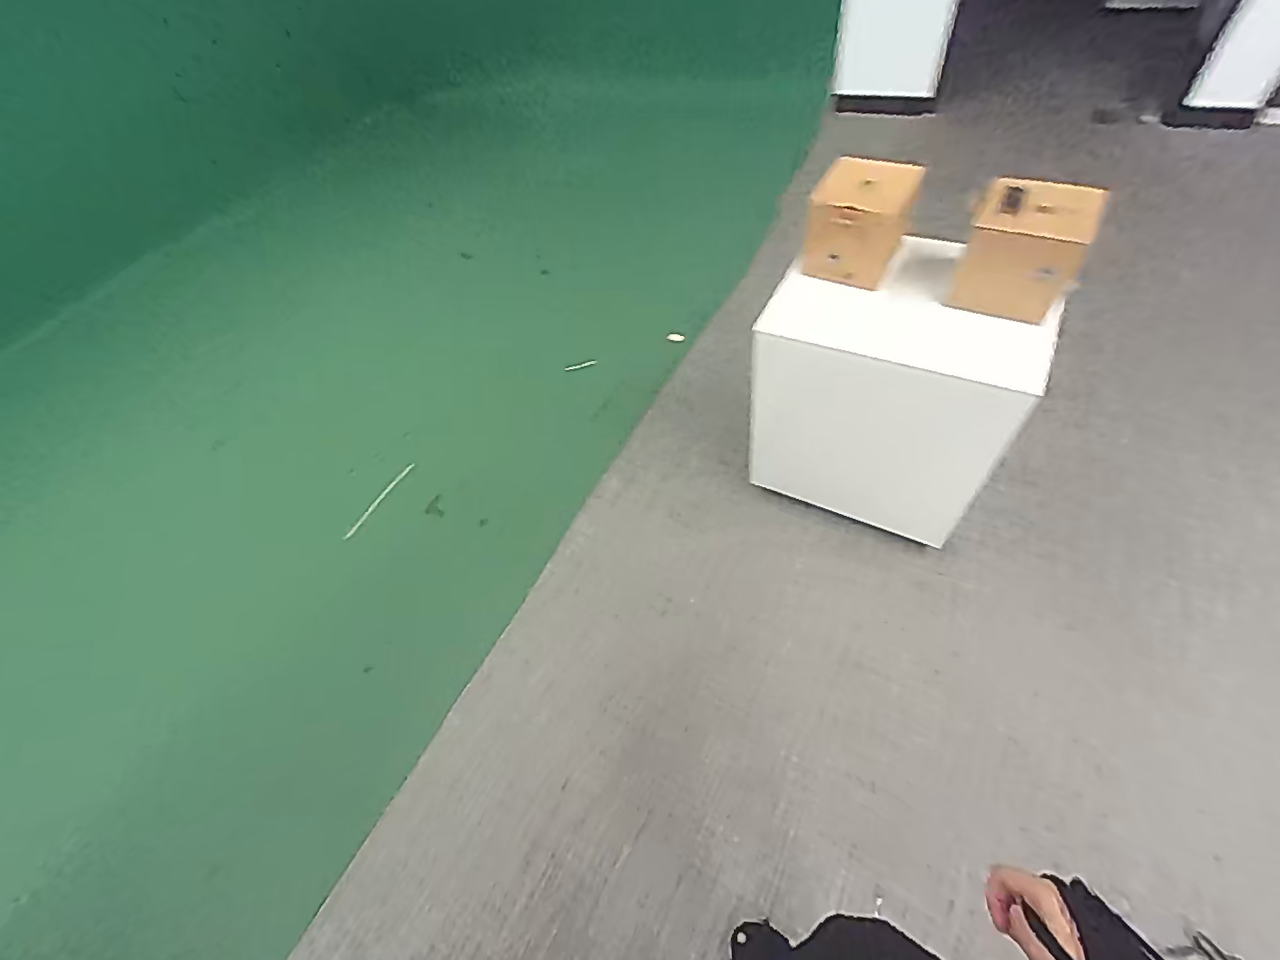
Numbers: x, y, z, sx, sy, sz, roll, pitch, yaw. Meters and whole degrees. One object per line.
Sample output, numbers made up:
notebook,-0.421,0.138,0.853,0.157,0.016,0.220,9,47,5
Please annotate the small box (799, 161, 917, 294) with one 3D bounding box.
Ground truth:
small box,0.440,-0.519,1.115,0.168,0.176,0.179,24,63,23
